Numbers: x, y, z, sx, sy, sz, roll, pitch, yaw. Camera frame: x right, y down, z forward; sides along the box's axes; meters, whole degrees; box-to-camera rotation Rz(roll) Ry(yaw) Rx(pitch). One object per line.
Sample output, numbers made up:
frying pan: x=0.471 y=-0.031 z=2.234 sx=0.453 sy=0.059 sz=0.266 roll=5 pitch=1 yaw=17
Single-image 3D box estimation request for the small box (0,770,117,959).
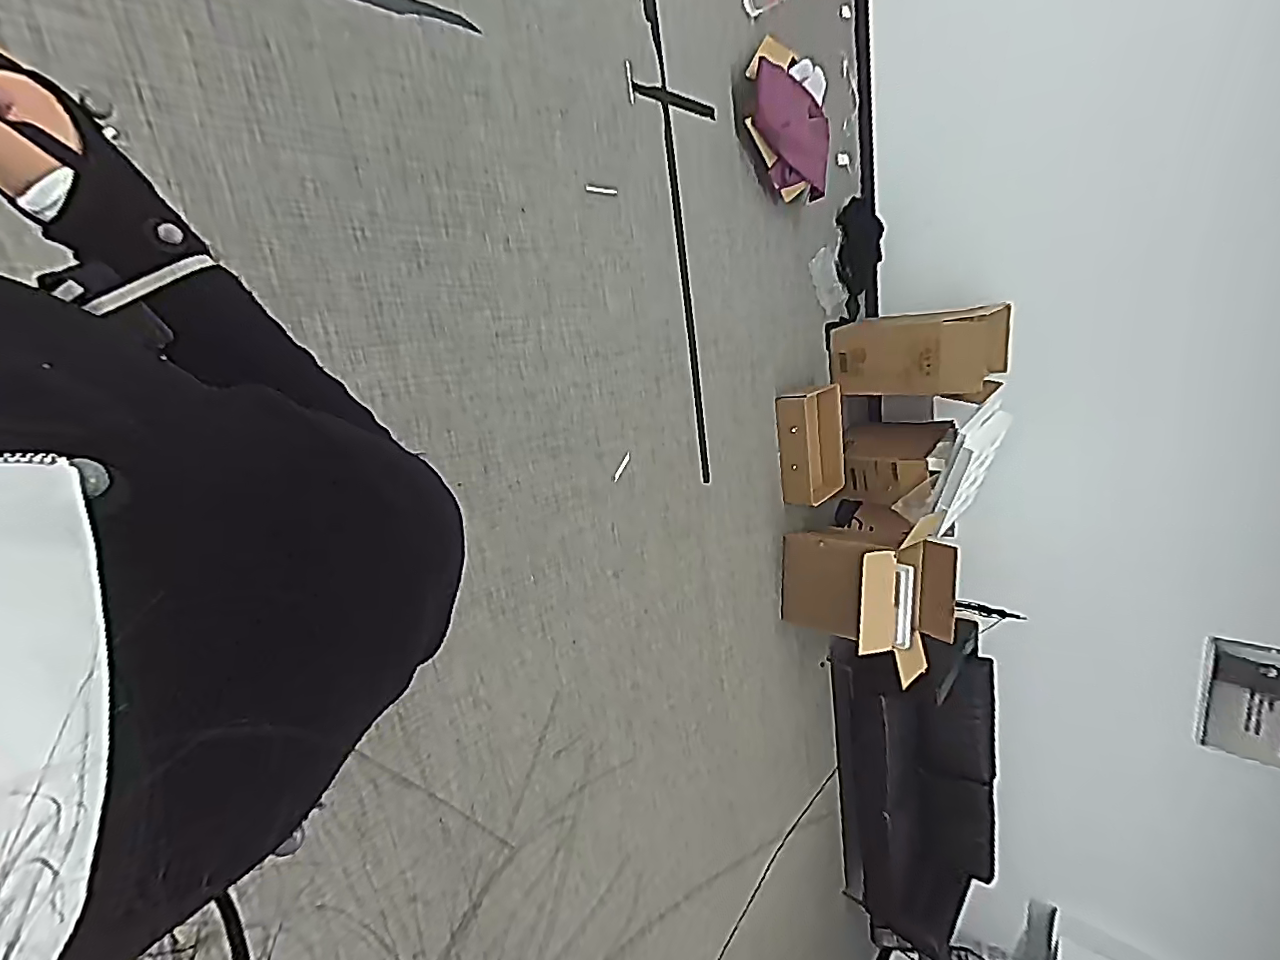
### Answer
small box: x=-0.784 y=0.504 z=0.661 sx=0.179 sy=0.176 sz=0.168 roll=-23 pitch=109 yaw=-42
